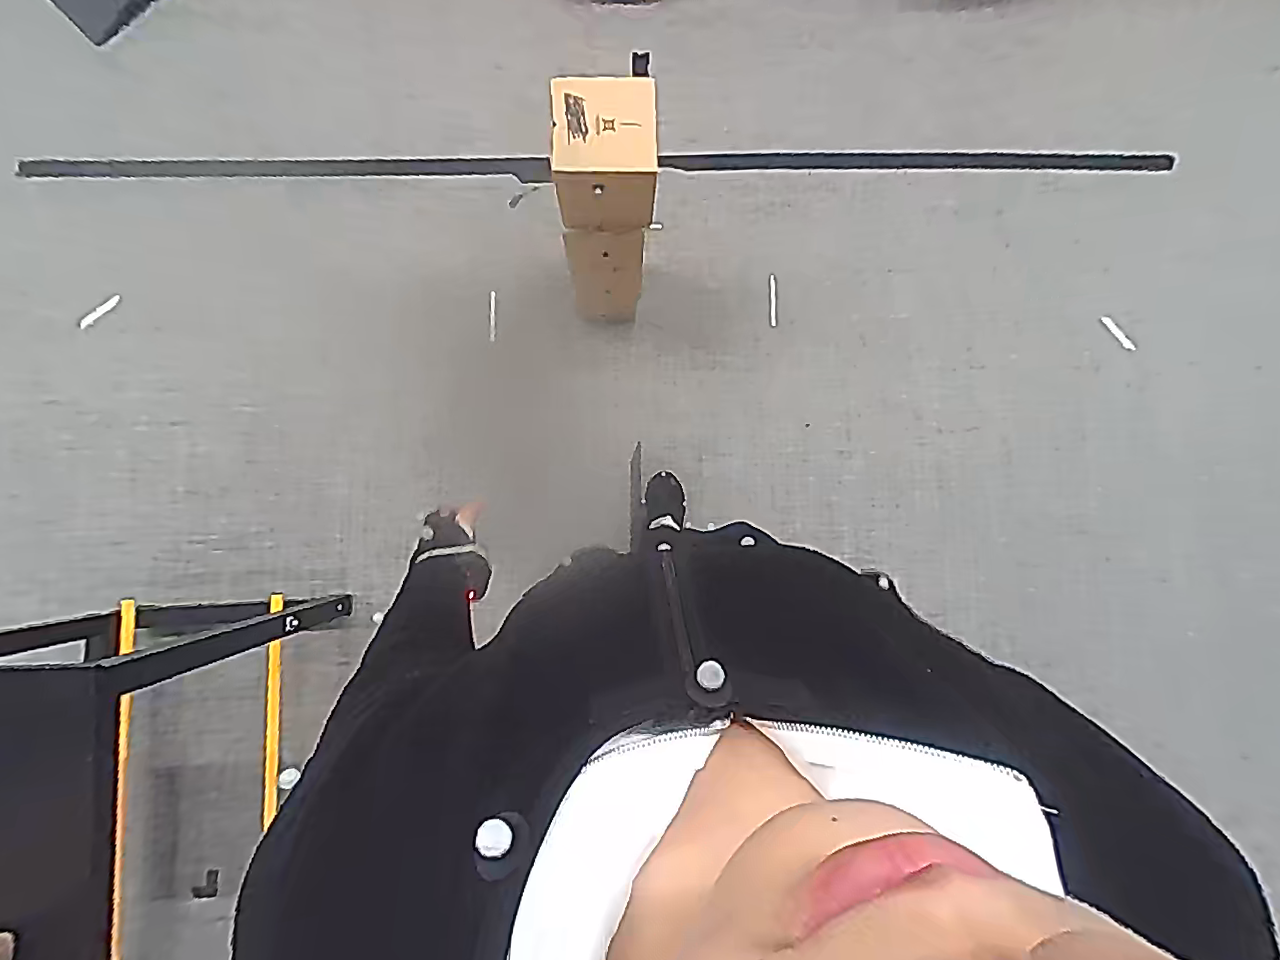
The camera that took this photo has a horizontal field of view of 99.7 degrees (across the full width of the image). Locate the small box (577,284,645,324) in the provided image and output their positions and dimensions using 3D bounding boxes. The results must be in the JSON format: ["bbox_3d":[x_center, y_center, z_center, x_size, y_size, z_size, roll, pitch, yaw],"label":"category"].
[{"bbox_3d":[-0.074,-0.514,1.380,0.168,0.176,0.179,-1,88,-1],"label":"small box"}]

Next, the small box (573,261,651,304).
[{"bbox_3d":[-0.061,-0.515,1.215,0.168,0.176,0.179,-1,87,-1],"label":"small box"}]

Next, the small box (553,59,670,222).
[{"bbox_3d":[-0.044,-0.544,0.887,0.179,0.176,0.168,-2,86,-2],"label":"small box"}]

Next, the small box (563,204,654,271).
[{"bbox_3d":[-0.056,-0.524,1.052,0.168,0.176,0.179,0,87,-1],"label":"small box"}]
